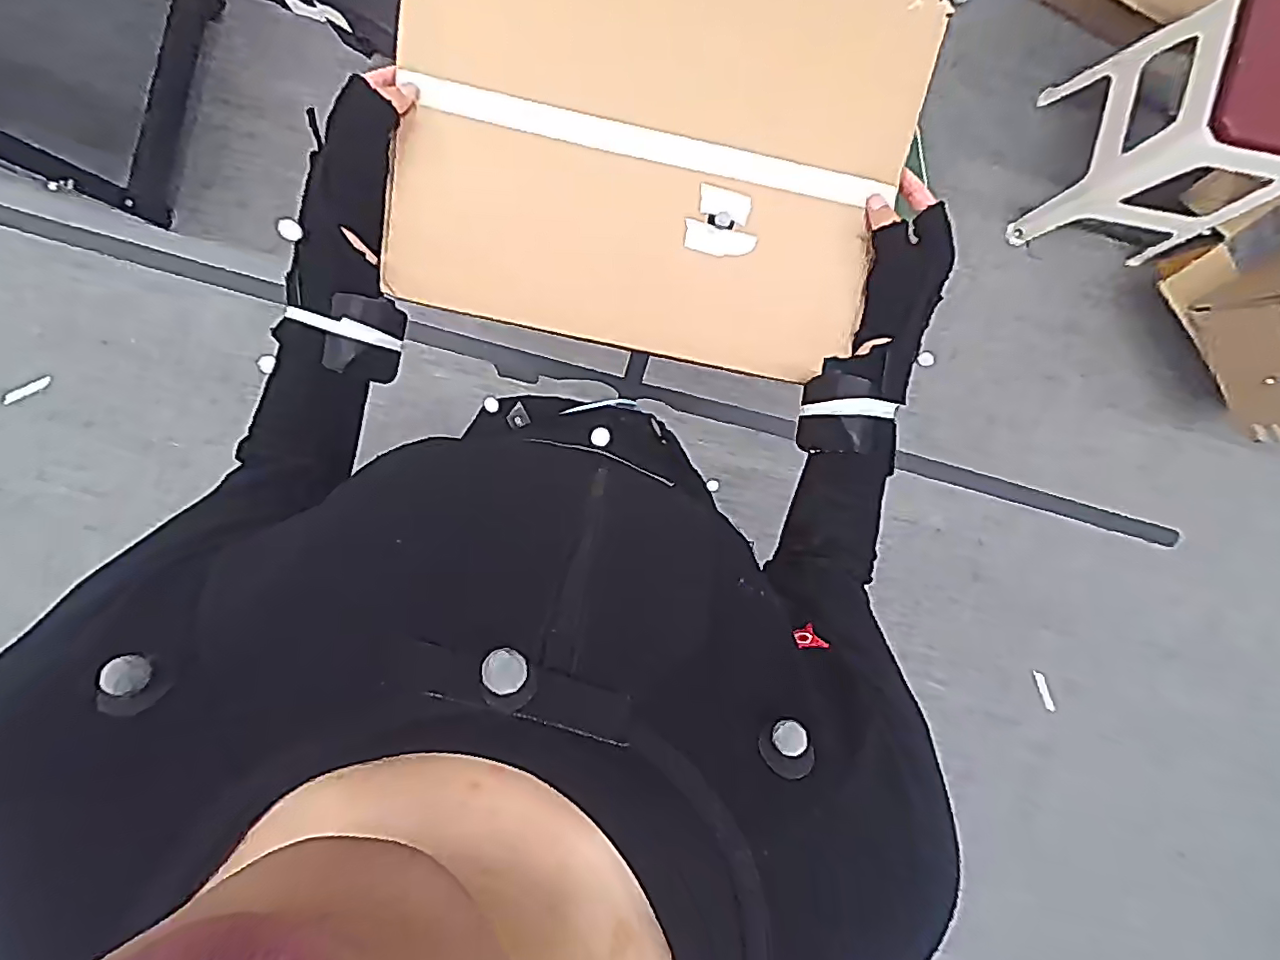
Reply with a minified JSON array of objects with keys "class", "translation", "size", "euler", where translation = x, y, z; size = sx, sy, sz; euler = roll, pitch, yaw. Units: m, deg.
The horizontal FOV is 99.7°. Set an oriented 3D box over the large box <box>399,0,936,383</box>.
[{"class":"large box","translation":[0.006,-0.302,0.590],"size":[0.408,0.320,0.320],"euler":[11,104,-6]}]
